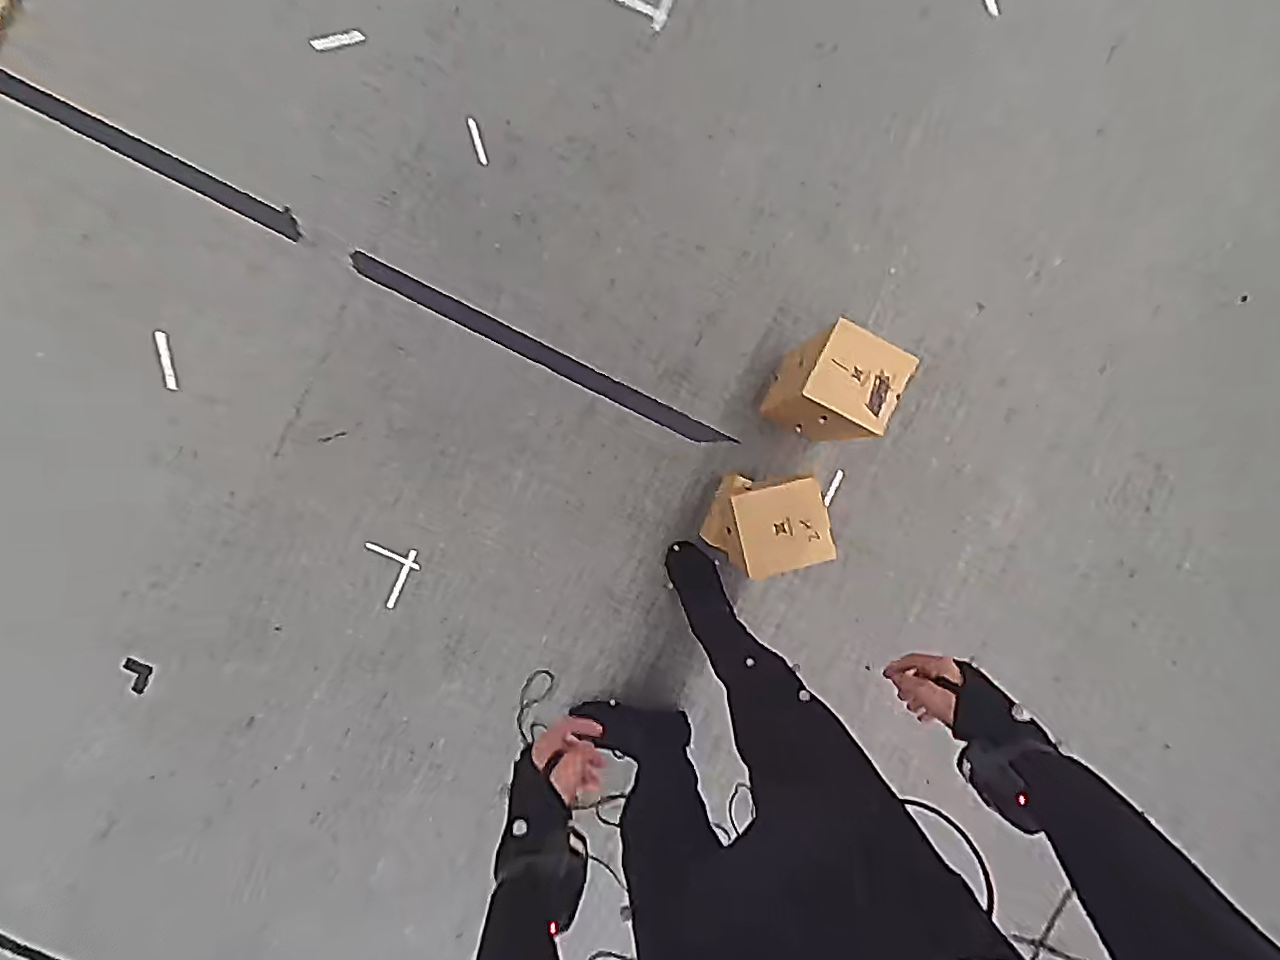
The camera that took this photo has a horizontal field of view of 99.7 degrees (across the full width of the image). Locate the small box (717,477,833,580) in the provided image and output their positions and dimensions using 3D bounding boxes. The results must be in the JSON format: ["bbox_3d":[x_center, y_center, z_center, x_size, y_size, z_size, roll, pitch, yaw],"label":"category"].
[{"bbox_3d":[0.264,0.093,1.105,0.179,0.176,0.168,-14,92,-3],"label":"small box"}]

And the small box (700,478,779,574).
[{"bbox_3d":[0.255,0.102,1.269,0.179,0.176,0.168,23,90,-3],"label":"small box"}]

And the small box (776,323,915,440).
[{"bbox_3d":[0.408,-0.191,1.103,0.179,0.176,0.168,27,89,-2],"label":"small box"}]
